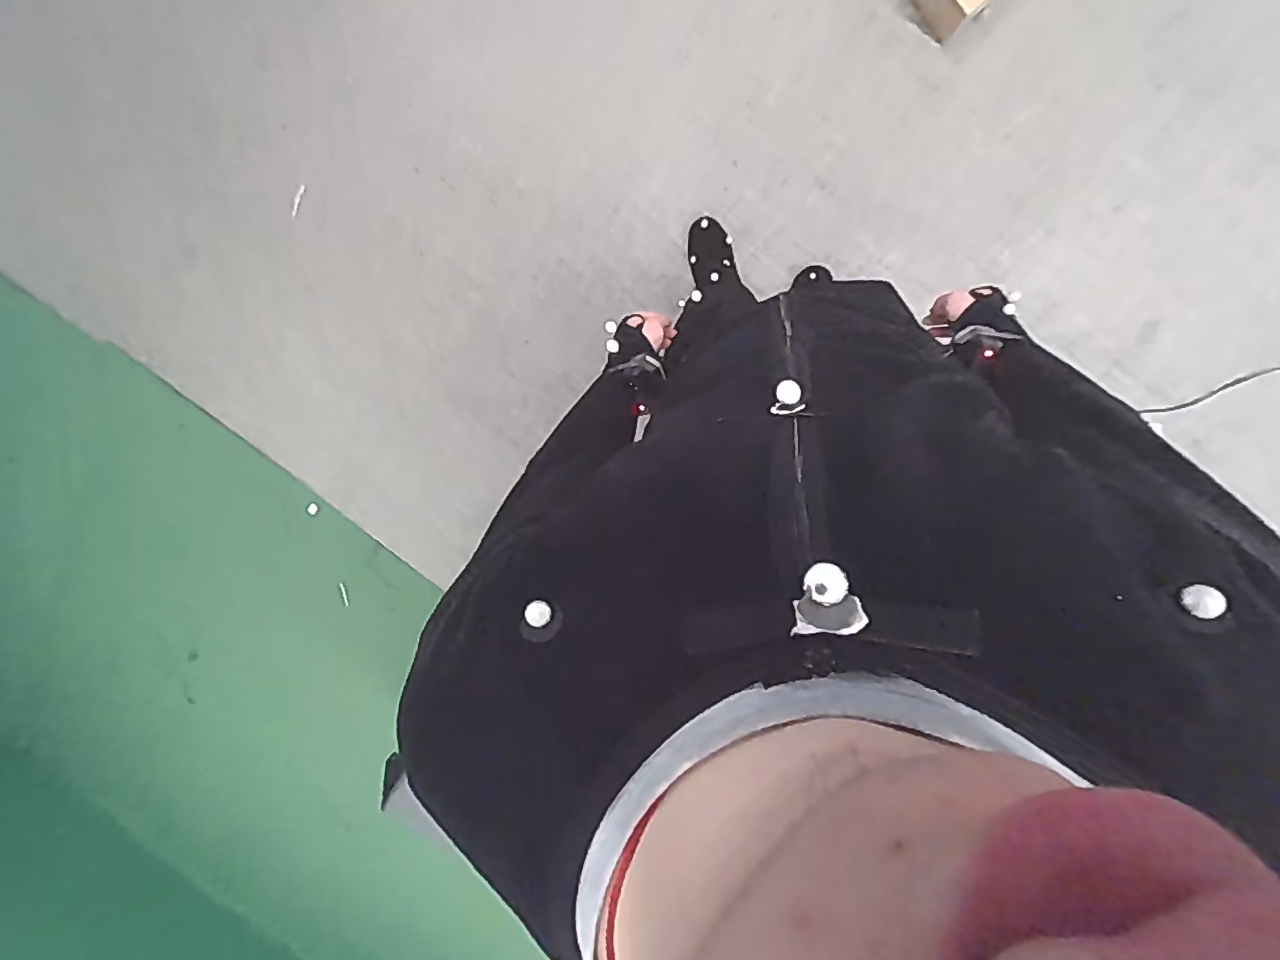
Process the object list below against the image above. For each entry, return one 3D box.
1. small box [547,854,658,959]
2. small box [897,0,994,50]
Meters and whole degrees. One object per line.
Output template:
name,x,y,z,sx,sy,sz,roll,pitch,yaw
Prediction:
small box,-0.077,1.008,1.231,0.168,0.176,0.179,36,114,-4
small box,0.615,-0.990,1.045,0.168,0.176,0.179,-38,101,25
